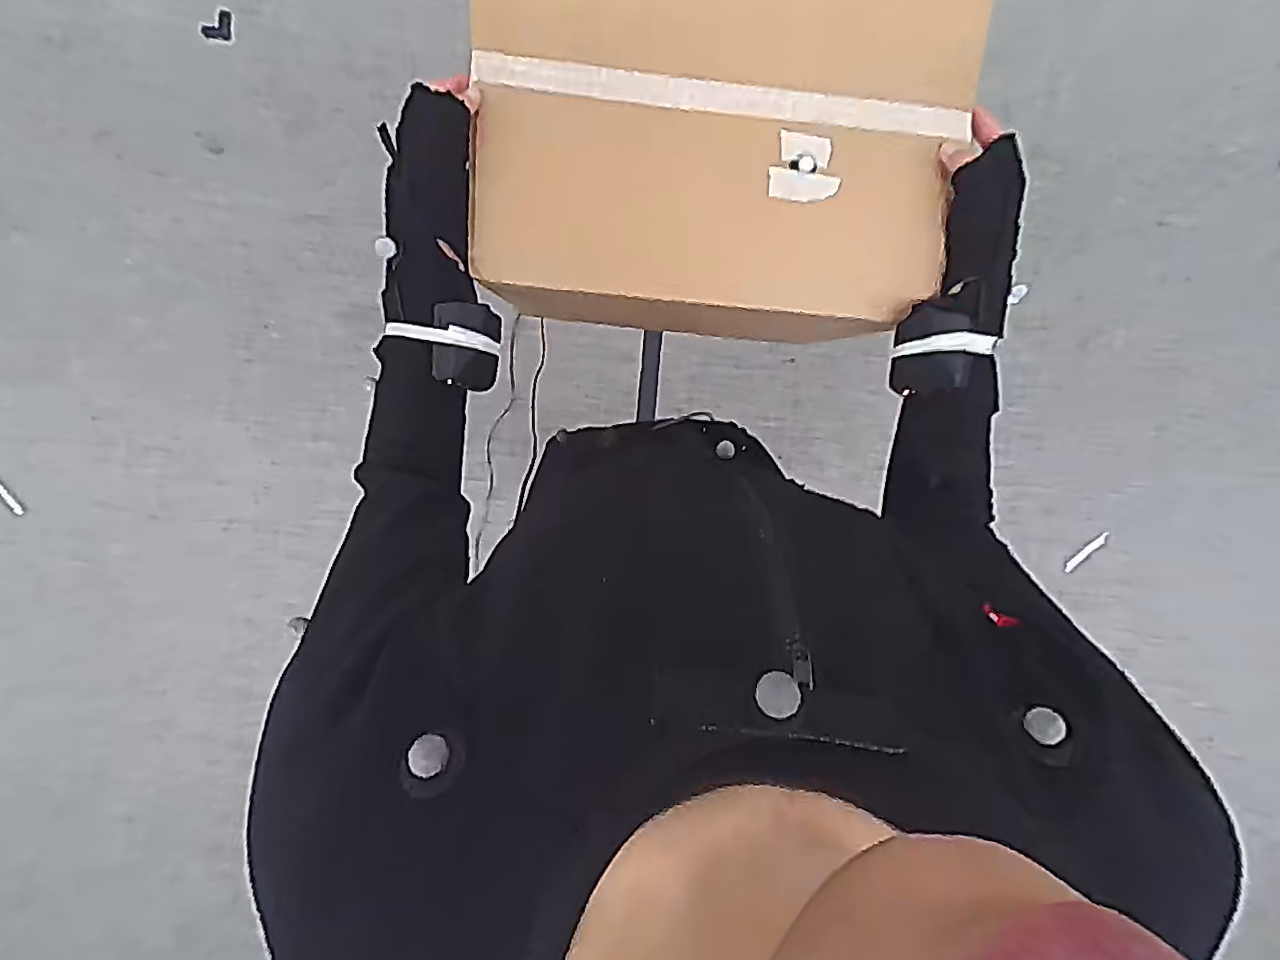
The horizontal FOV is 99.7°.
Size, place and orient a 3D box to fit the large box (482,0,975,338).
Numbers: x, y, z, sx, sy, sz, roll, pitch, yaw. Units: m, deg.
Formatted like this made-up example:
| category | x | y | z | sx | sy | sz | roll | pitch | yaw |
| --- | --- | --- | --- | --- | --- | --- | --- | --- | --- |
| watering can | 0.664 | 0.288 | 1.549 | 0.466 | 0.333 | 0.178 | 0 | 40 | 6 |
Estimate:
| category | x | y | z | sx | sy | sz | roll | pitch | yaw |
| --- | --- | --- | --- | --- | --- | --- | --- | --- | --- |
| large box | 0.060 | -0.338 | 0.596 | 0.408 | 0.320 | 0.320 | 4 | 102 | -5 |
